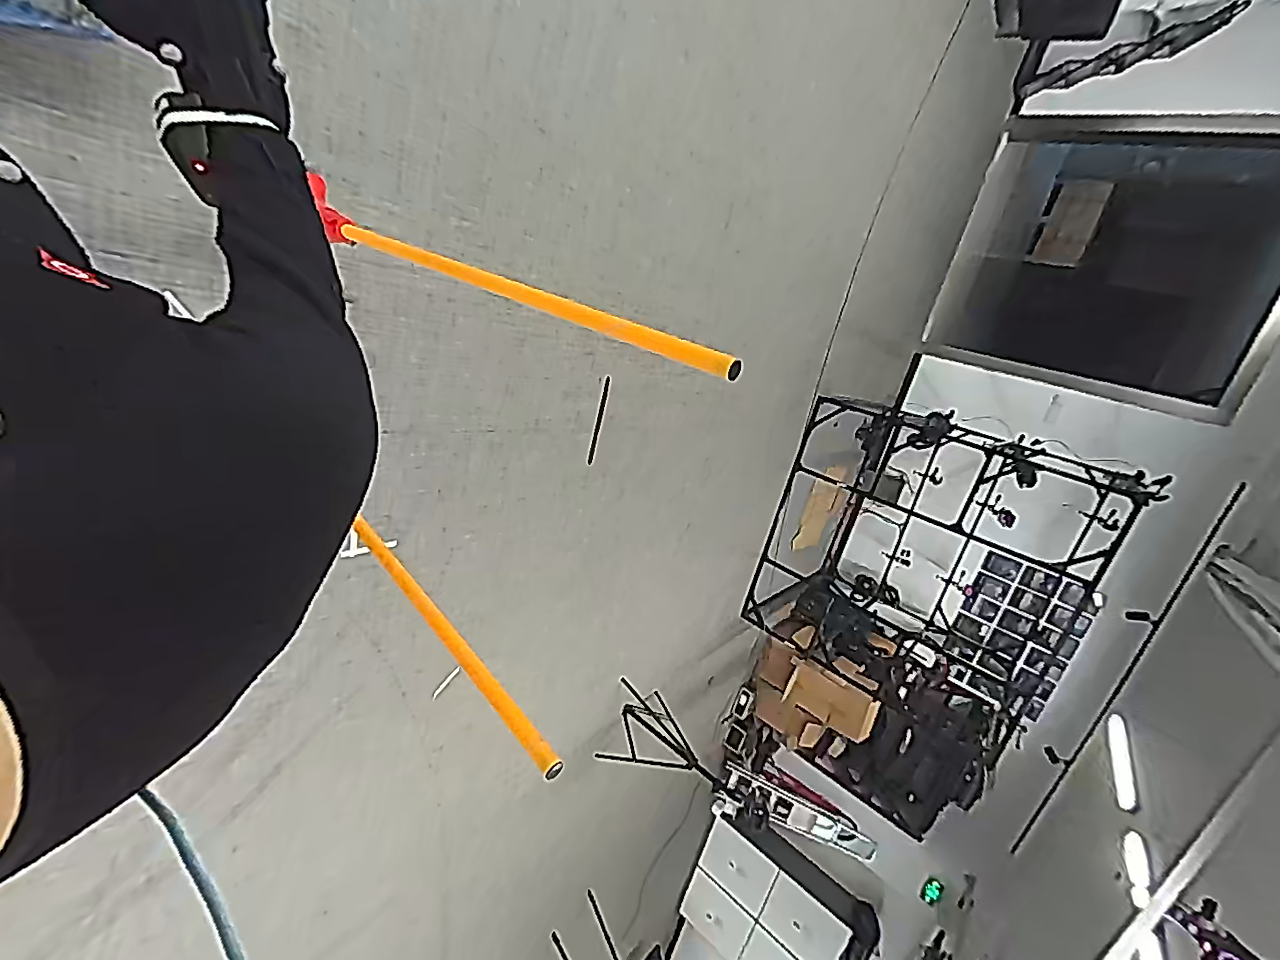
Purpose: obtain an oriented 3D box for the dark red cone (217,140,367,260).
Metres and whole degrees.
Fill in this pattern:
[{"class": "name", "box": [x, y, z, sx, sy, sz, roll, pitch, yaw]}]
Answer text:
[{"class": "dark red cone", "box": [-0.667, -0.538, 1.084, 0.201, 0.394, 0.202, -9, 119, -54]}]
